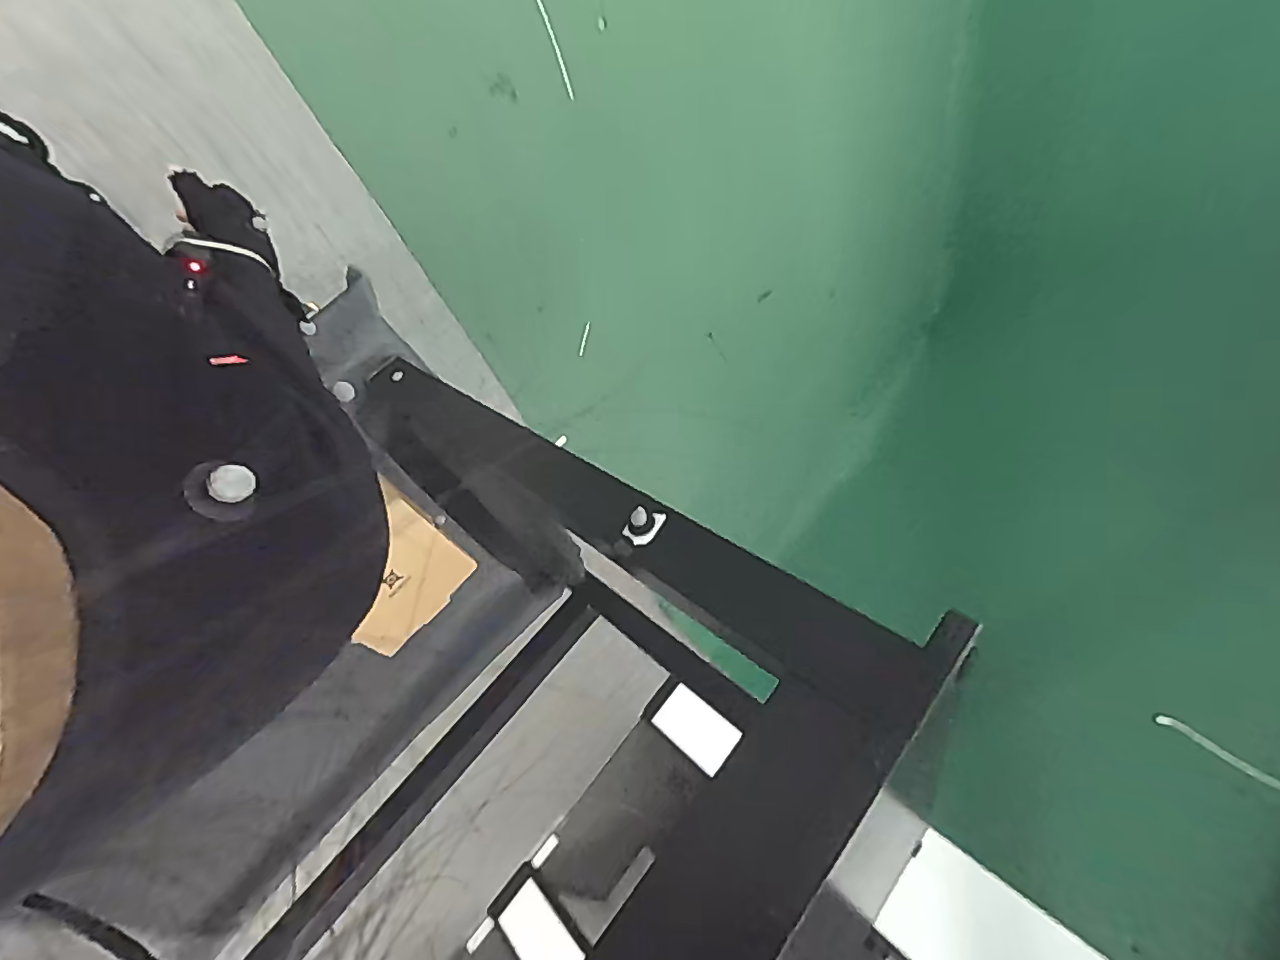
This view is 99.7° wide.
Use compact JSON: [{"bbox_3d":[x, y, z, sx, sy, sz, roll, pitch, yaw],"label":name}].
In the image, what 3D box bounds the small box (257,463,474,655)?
[{"bbox_3d":[-0.370,0.097,0.732,0.168,0.176,0.179,-48,140,-16],"label":"small box"}]
